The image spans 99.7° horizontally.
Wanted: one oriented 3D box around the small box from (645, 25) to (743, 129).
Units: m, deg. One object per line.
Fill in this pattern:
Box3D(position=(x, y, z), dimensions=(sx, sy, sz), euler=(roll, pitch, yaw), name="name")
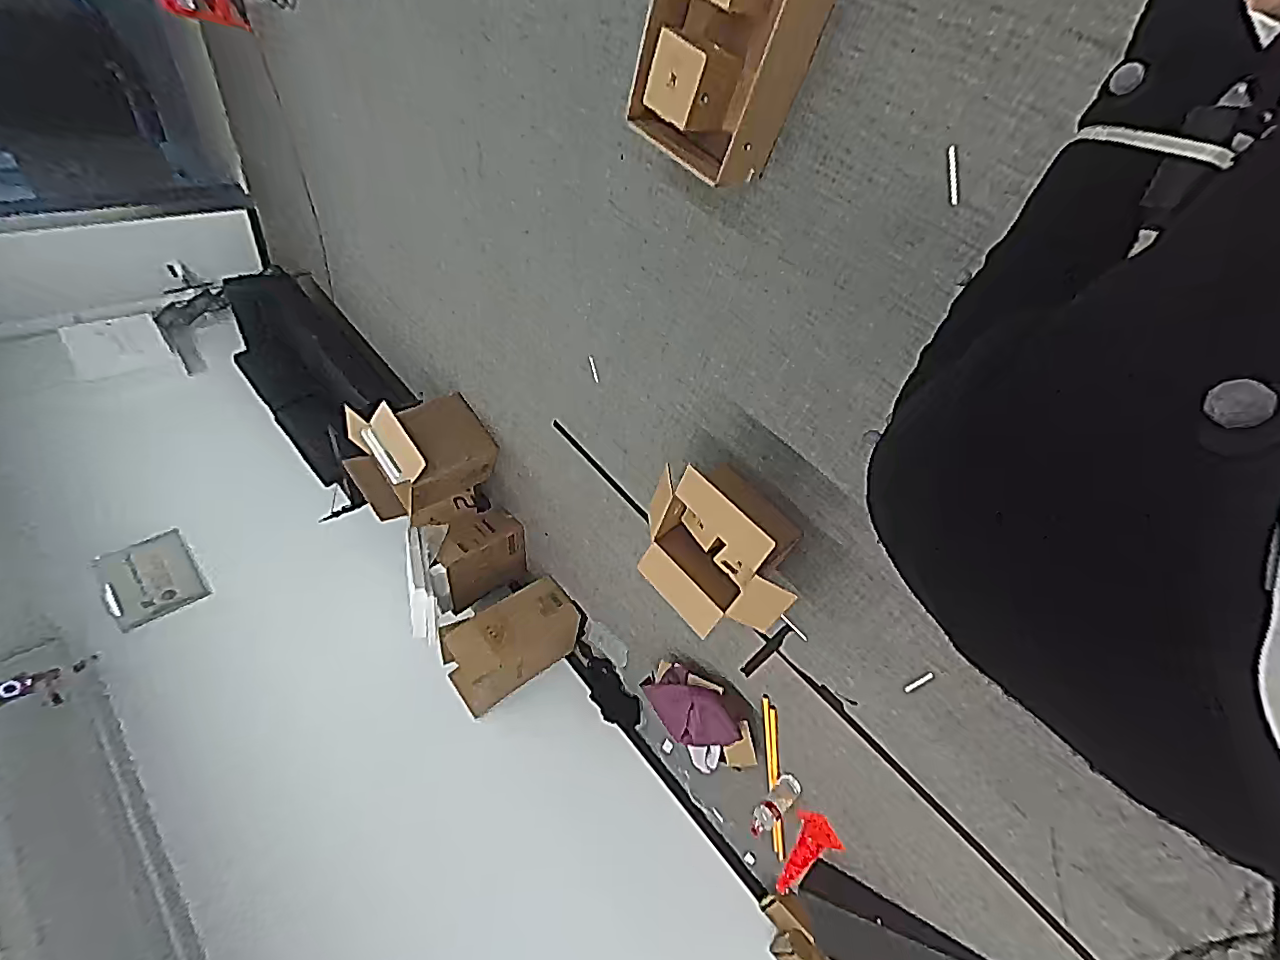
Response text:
Box3D(position=(0.147, -1.075, 1.452), dimensions=(0.168, 0.176, 0.179), euler=(46, 140, 17), name="small box")
